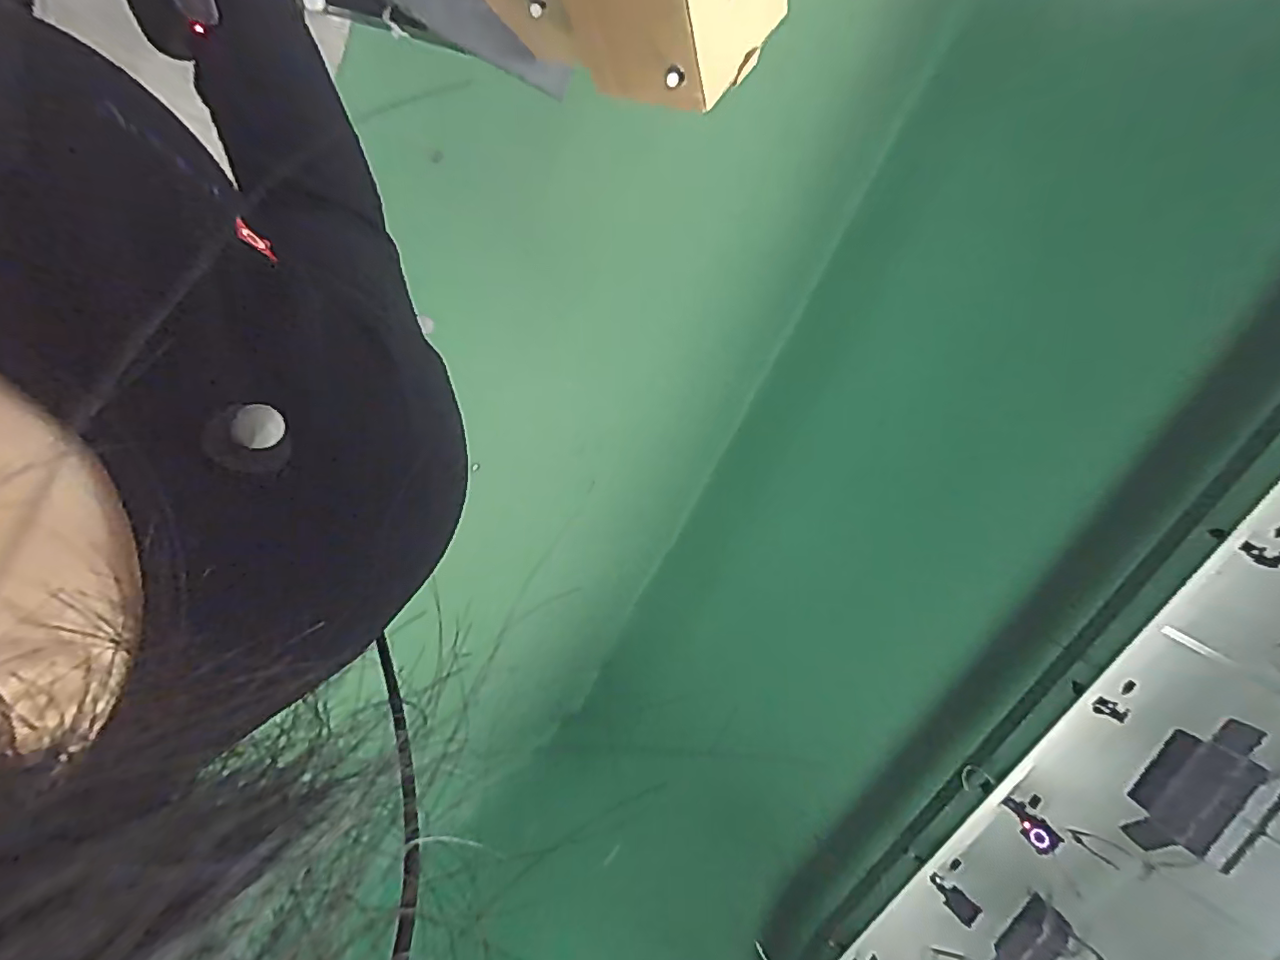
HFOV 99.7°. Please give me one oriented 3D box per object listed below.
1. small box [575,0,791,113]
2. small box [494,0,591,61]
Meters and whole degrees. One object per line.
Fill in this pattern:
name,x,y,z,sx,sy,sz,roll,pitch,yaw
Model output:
small box,0.036,-0.529,0.559,0.168,0.176,0.179,-54,153,-8
small box,-0.082,-0.622,0.626,0.179,0.176,0.168,7,112,-60
